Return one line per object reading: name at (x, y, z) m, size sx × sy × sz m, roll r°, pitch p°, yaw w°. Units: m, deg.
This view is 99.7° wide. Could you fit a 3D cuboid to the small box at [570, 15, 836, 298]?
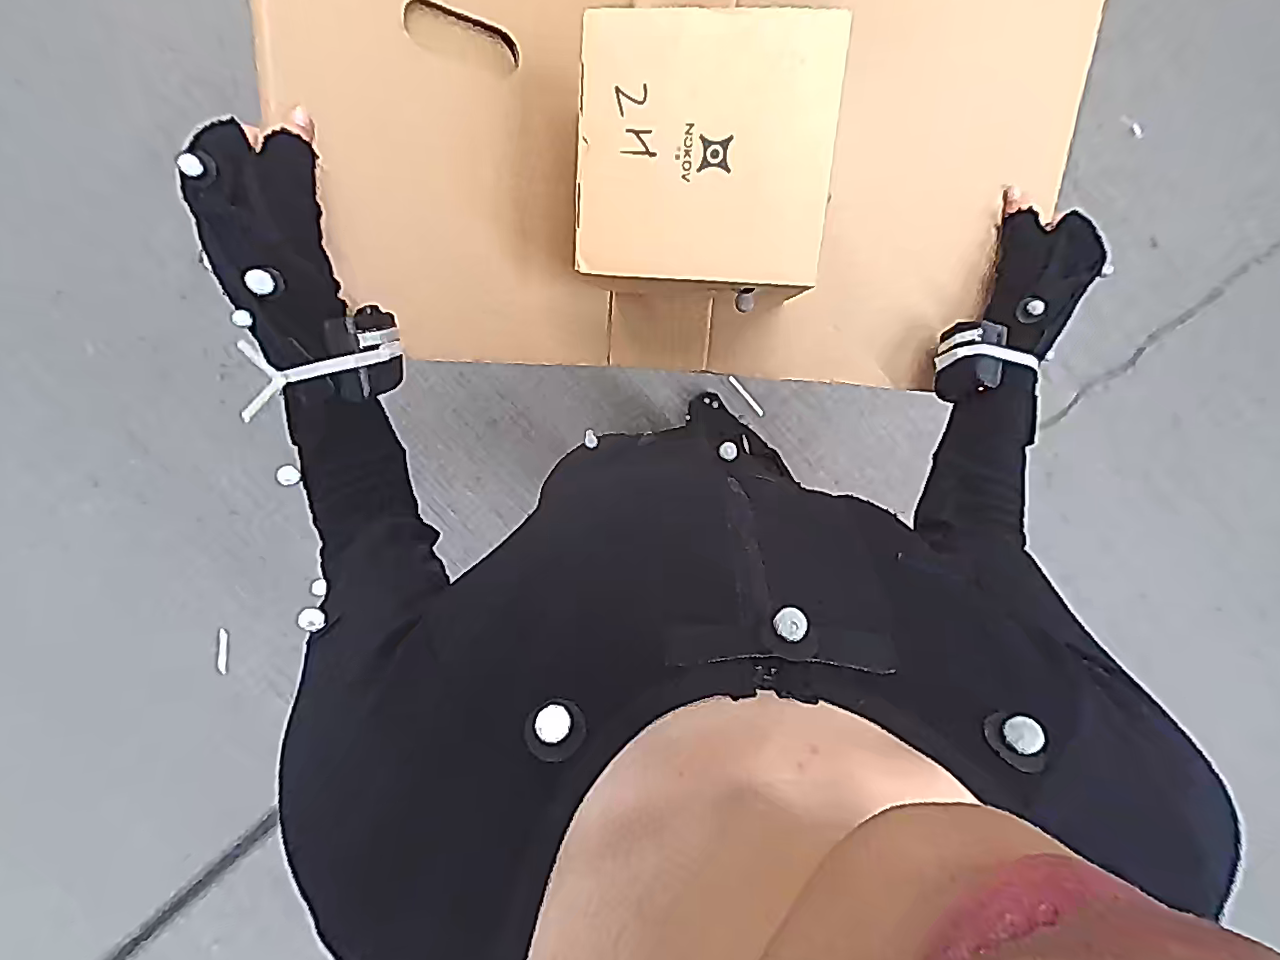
small box at (0.047, -0.247, 0.454) m, size 0.179 × 0.176 × 0.168 m, roll 5°, pitch 105°, yaw 7°
